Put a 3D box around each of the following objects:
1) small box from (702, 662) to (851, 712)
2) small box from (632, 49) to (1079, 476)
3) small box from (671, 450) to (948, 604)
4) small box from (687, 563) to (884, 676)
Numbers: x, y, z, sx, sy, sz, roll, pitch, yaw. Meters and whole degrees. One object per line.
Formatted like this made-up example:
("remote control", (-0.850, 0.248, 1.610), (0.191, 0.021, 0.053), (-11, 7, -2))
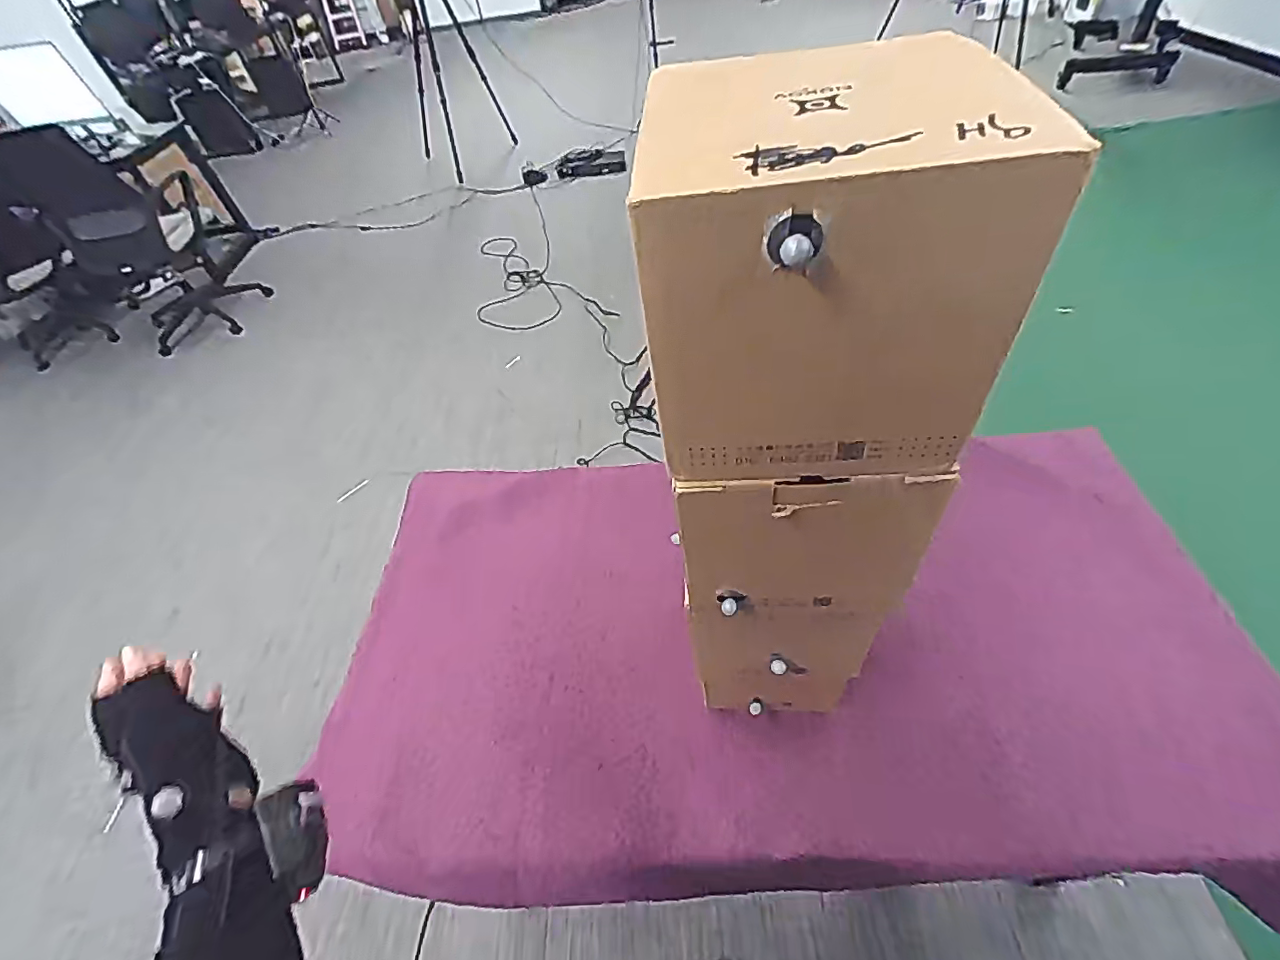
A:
("small box", (0.164, 0.181, 0.699), (0.168, 0.176, 0.179), (-2, 50, 9))
("small box", (0.095, -0.121, 0.318), (0.168, 0.176, 0.179), (-2, 48, 10))
("small box", (0.118, -0.011, 0.437), (0.168, 0.176, 0.179), (-3, 48, 8))
("small box", (0.137, 0.088, 0.567), (0.168, 0.176, 0.179), (-4, 49, 8))
